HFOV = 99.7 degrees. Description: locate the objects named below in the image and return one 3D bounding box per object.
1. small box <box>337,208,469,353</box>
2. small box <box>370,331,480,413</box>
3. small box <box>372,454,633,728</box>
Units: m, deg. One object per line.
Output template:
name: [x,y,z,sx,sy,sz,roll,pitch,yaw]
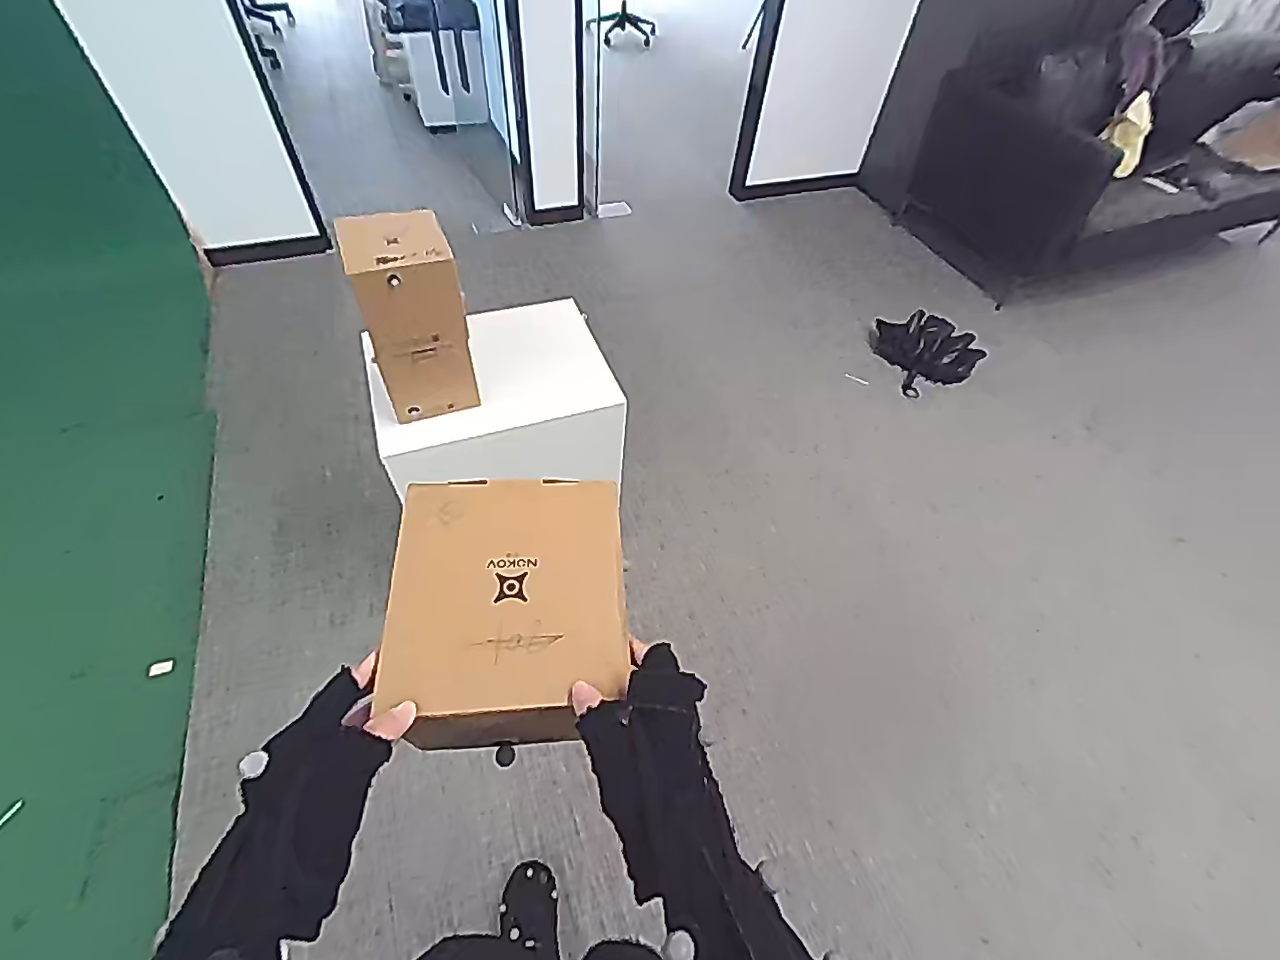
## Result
small box: [-0.417,-0.355,0.964,0.168,0.176,0.179,-18,55,-18]
small box: [-0.433,-0.254,1.091,0.168,0.176,0.179,-17,55,-18]
small box: [-0.102,0.096,0.452,0.168,0.176,0.179,-2,59,-8]
